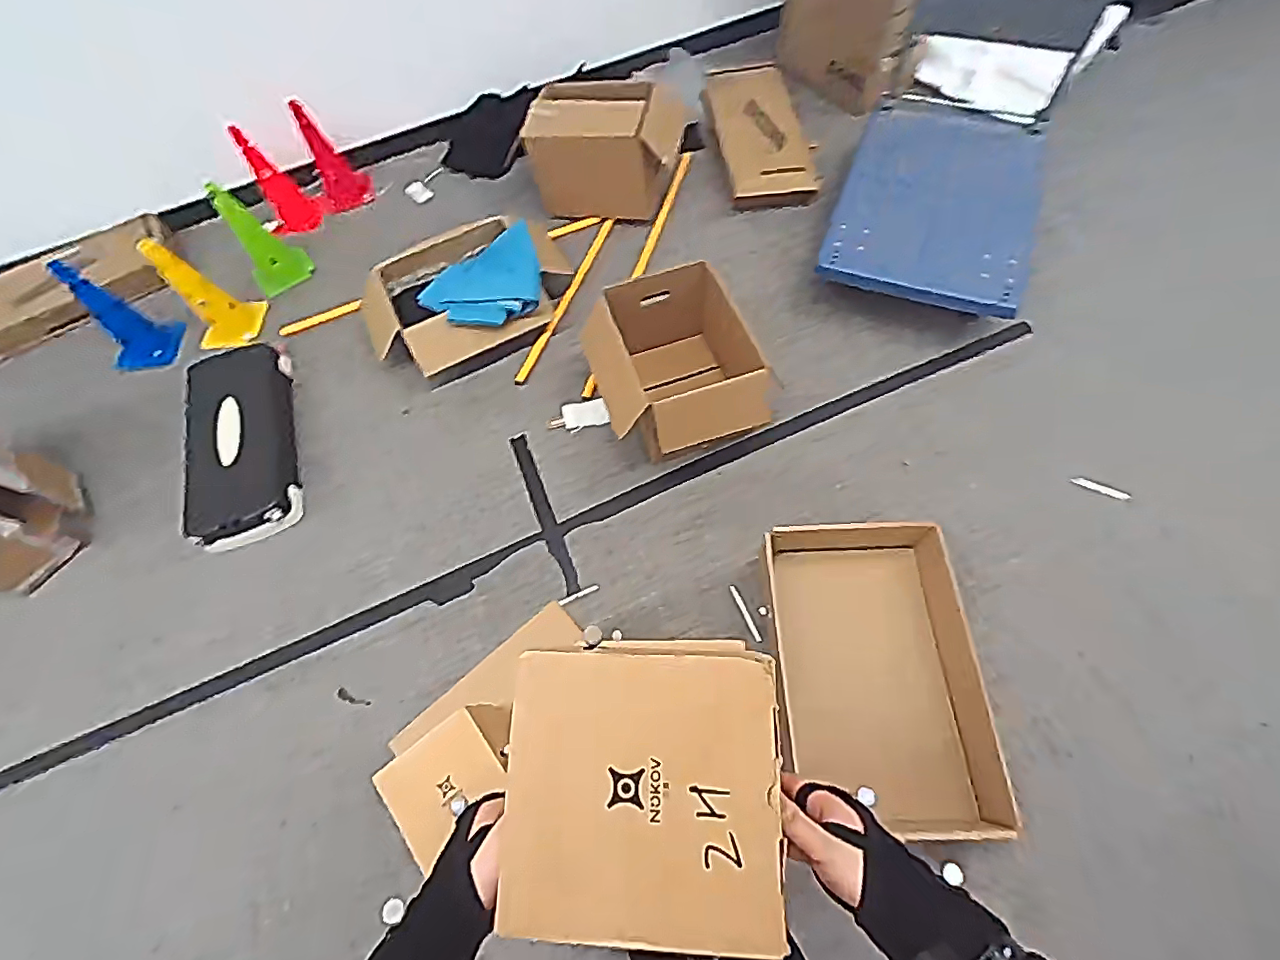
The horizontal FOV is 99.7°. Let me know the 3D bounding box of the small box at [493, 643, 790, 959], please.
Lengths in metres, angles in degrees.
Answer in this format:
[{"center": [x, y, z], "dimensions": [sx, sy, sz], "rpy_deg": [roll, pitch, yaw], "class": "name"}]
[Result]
[{"center": [0.010, 0.213, 0.408], "dimensions": [0.179, 0.176, 0.168], "rpy_deg": [1, 74, 6], "class": "small box"}]
